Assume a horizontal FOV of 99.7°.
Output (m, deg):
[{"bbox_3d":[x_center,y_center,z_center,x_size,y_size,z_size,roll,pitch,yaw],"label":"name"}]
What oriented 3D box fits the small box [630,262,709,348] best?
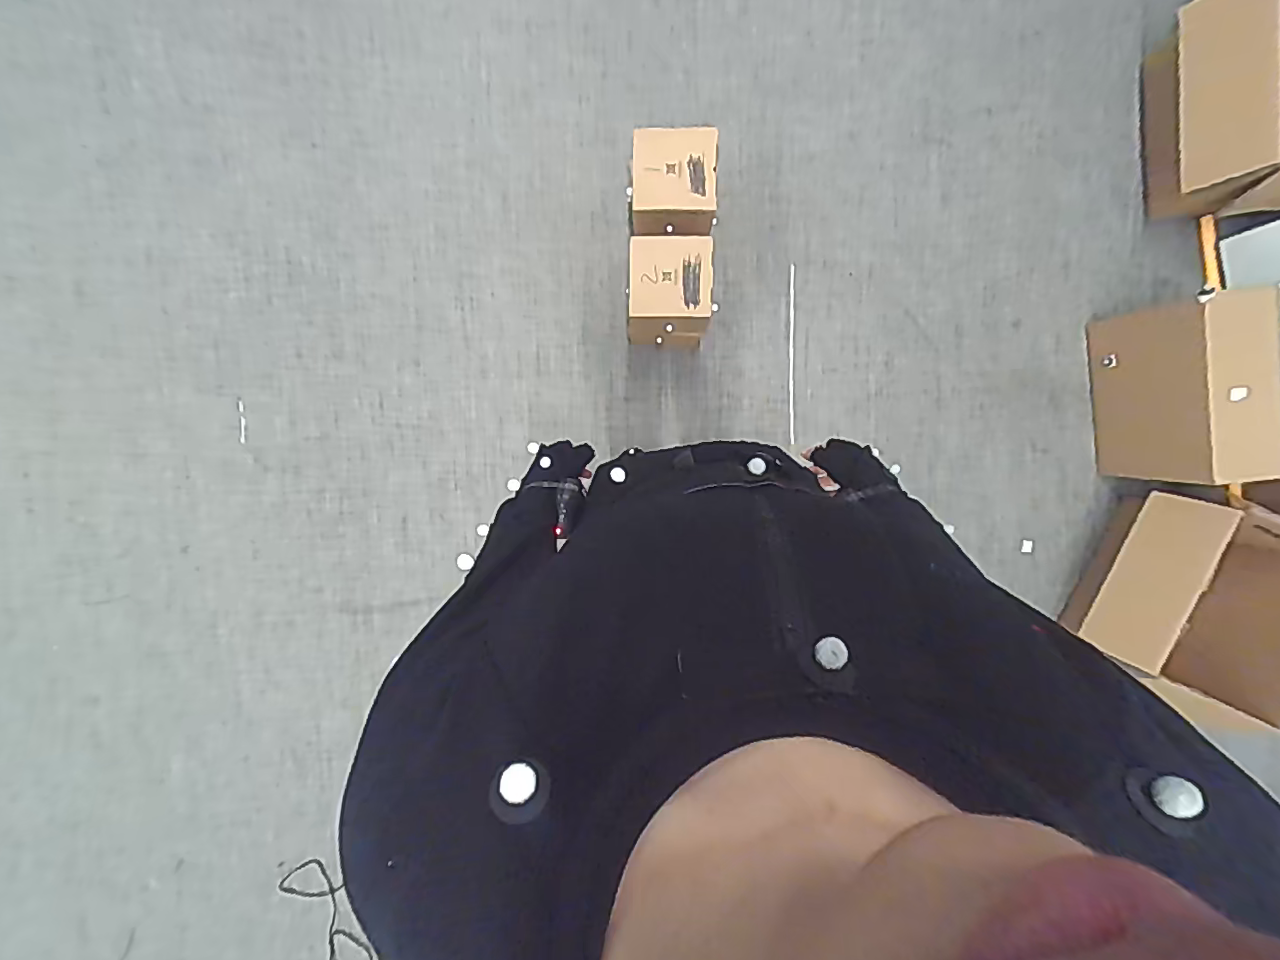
[{"bbox_3d":[0.073,-0.433,1.362,0.179,0.176,0.168,5,95,1],"label":"small box"}]
